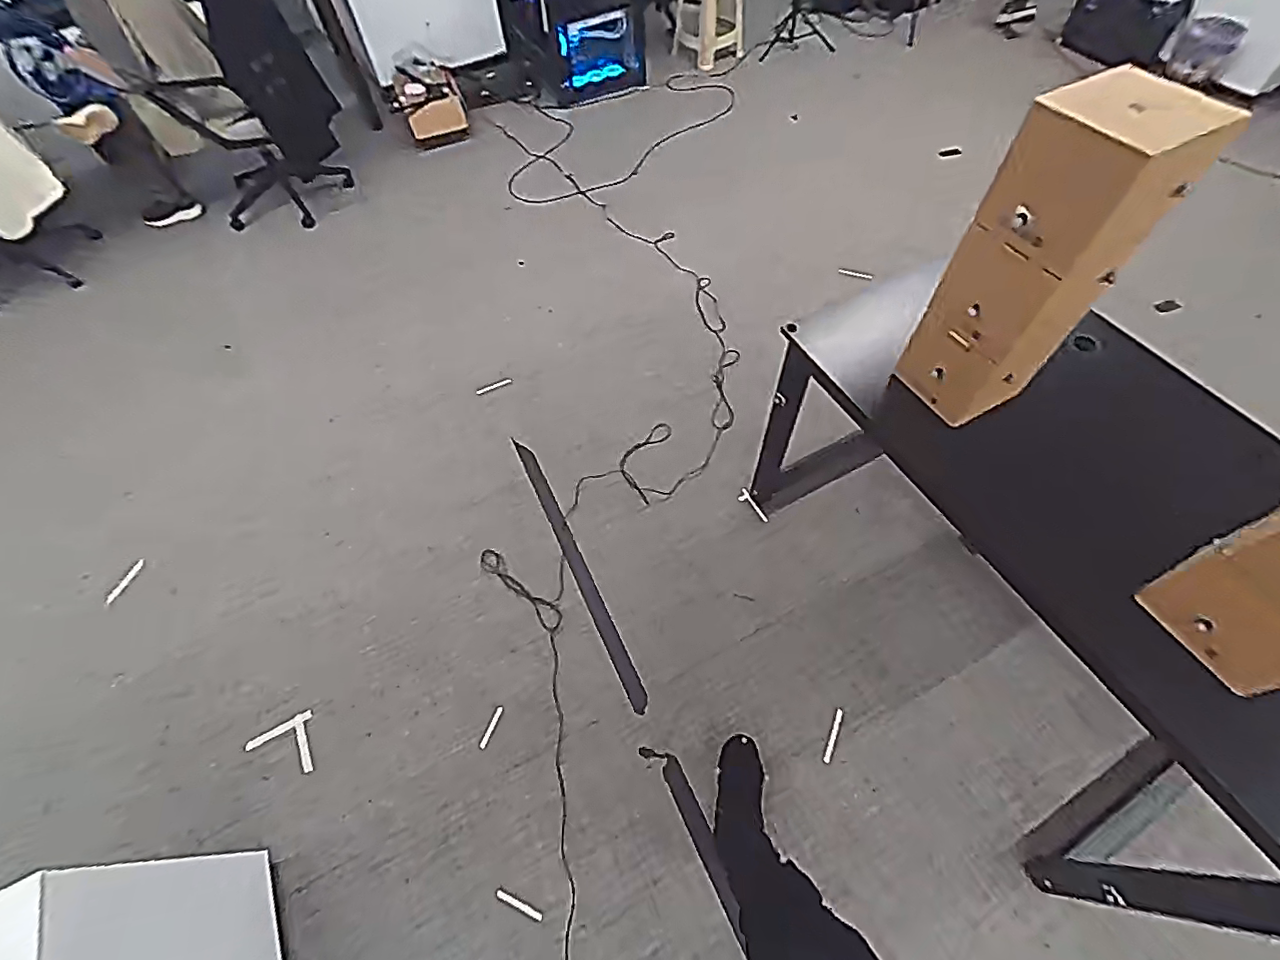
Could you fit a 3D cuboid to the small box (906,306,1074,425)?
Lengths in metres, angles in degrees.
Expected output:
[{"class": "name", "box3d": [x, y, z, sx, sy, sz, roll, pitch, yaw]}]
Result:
[{"class": "small box", "box3d": [0.622, -0.231, 0.994, 0.179, 0.176, 0.168, -27, 61, -12]}]

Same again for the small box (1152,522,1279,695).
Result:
[{"class": "small box", "box3d": [0.875, 0.166, 0.735, 0.179, 0.176, 0.168, -25, 60, -12]}]

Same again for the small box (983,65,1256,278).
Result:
[{"class": "small box", "box3d": [0.609, -0.403, 0.716, 0.179, 0.176, 0.168, -26, 59, -12]}]

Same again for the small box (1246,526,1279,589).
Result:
[{"class": "small box", "box3d": [0.862, 0.081, 0.594, 0.168, 0.176, 0.179, -28, 62, -14]}]

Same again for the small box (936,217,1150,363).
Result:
[{"class": "small box", "box3d": [0.616, -0.318, 0.855, 0.179, 0.176, 0.168, -26, 60, -12]}]
